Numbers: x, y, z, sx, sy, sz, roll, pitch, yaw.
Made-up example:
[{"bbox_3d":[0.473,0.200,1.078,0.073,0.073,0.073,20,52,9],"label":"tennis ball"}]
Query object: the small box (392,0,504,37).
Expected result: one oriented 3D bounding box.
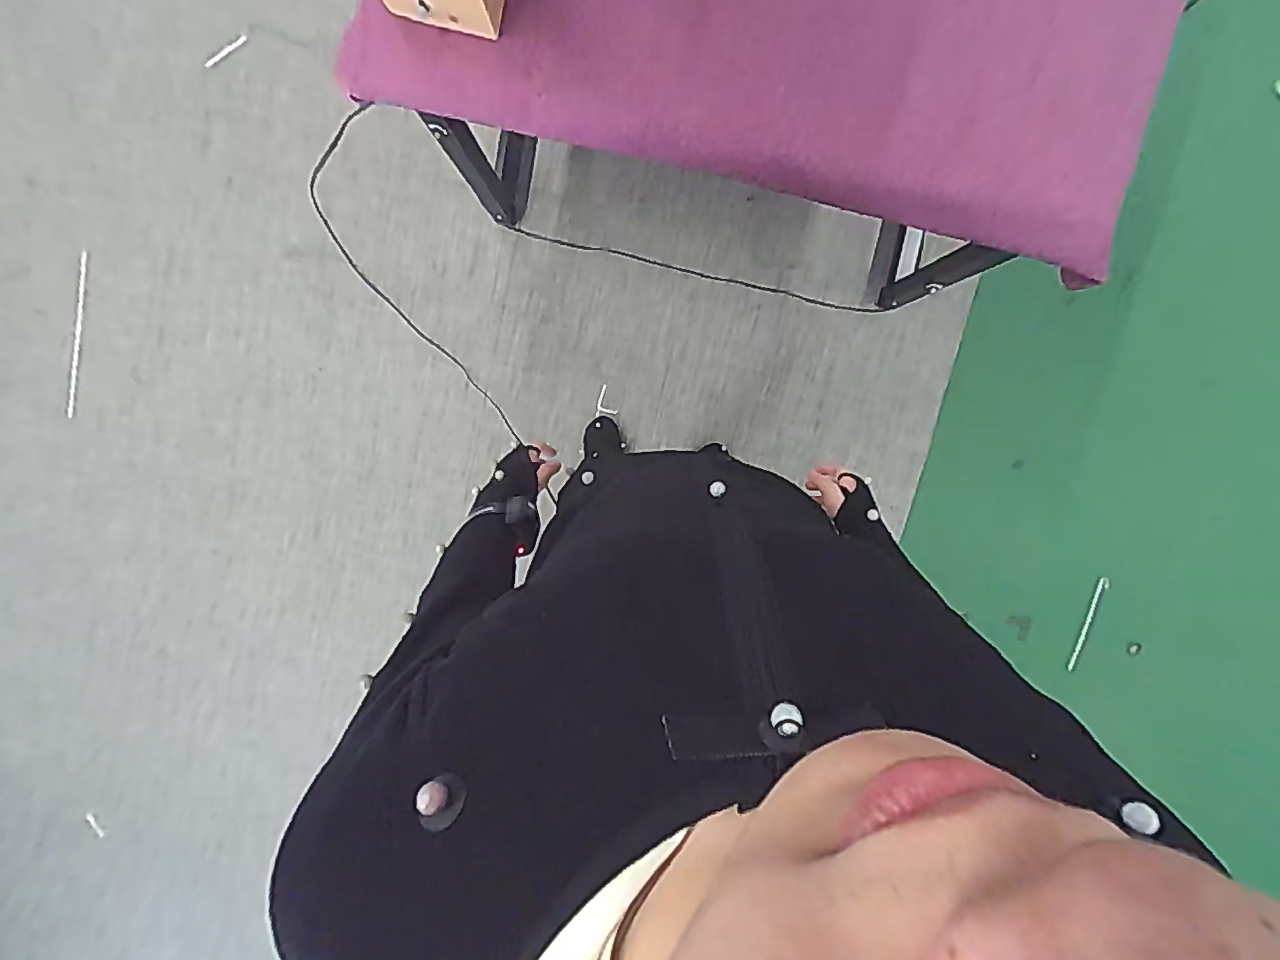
[{"bbox_3d":[-0.275,-0.760,0.726,0.168,0.176,0.179,13,96,-2],"label":"small box"}]
